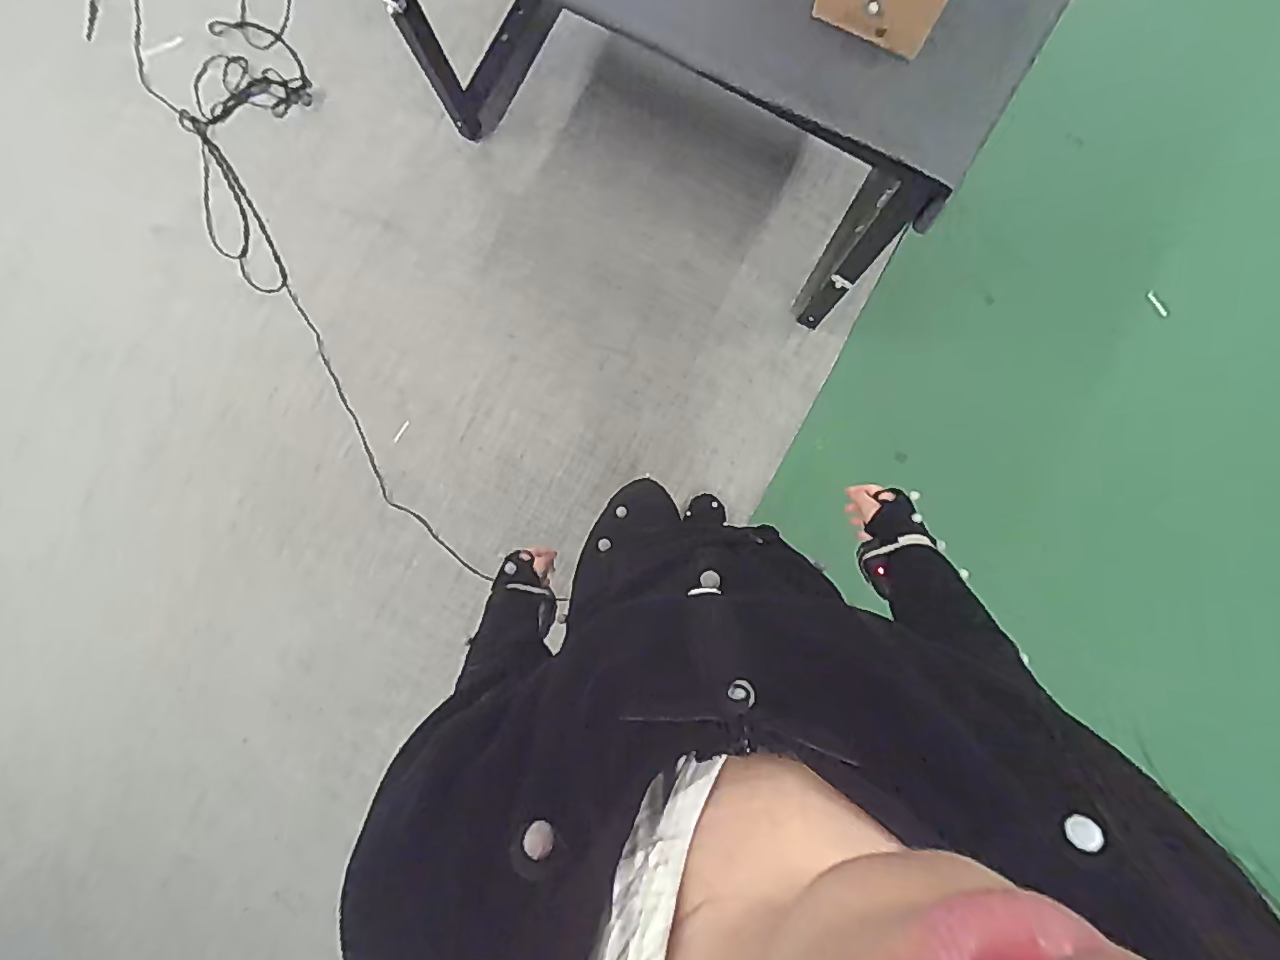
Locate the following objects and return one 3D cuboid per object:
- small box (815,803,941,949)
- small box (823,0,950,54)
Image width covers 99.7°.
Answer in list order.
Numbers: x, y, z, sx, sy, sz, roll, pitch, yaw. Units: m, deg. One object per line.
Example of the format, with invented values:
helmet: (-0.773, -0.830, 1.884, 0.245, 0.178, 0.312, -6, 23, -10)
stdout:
small box: (0.527, 0.879, 1.220, 0.179, 0.176, 0.168, 28, 91, 4)
small box: (0.362, -0.724, 0.704, 0.168, 0.176, 0.179, 28, 90, 5)
